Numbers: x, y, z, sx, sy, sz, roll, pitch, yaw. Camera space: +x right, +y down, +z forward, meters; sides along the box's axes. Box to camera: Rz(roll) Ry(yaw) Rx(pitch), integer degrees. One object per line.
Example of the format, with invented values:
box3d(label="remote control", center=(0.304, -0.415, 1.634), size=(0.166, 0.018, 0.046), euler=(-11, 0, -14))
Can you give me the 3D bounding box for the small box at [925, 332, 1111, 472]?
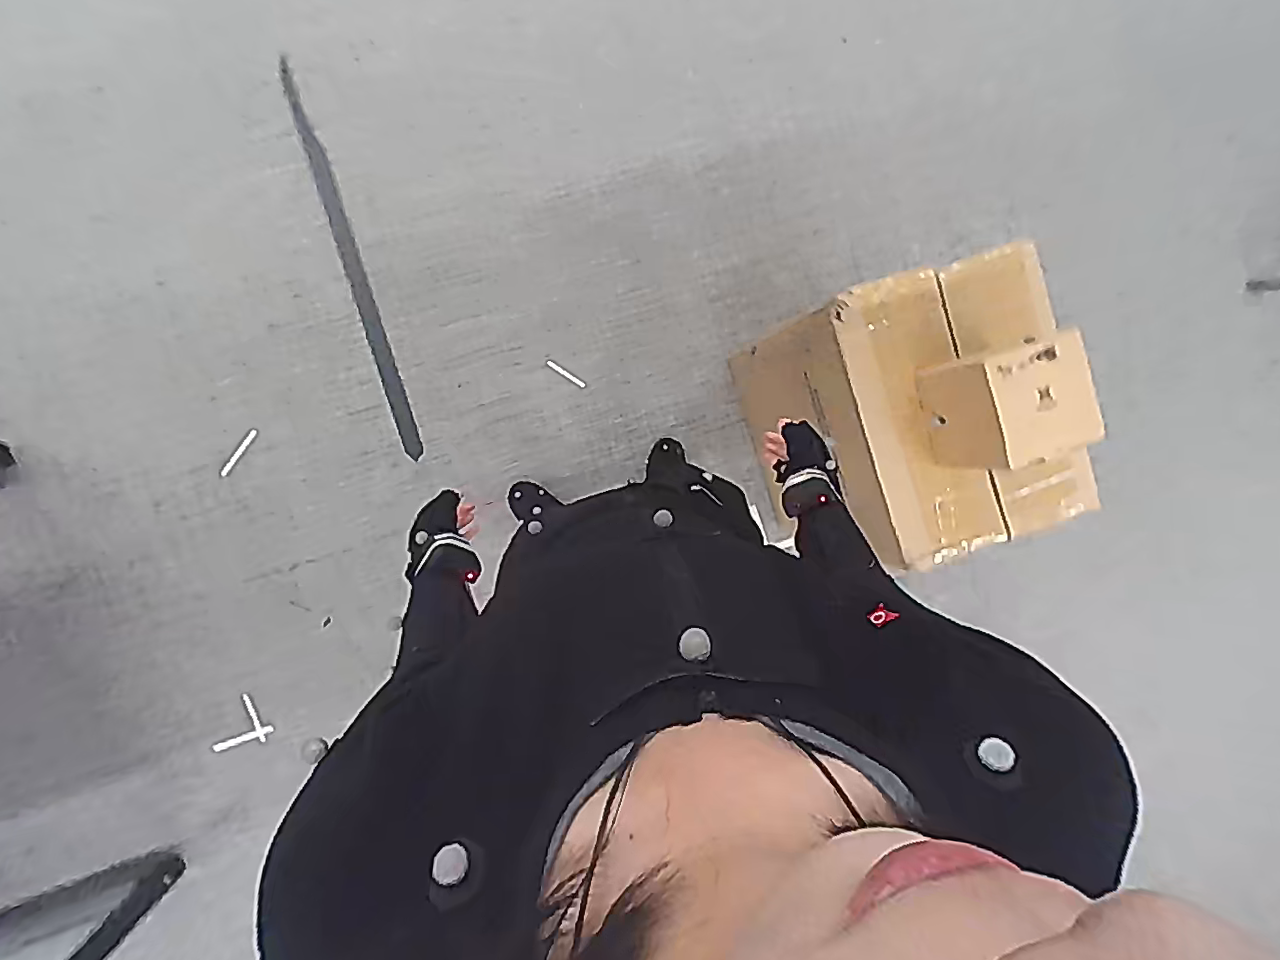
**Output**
box3d(label="small box", center=(0.604, -0.123, 0.884), size=(0.168, 0.176, 0.179), euler=(-18, 96, -5))
